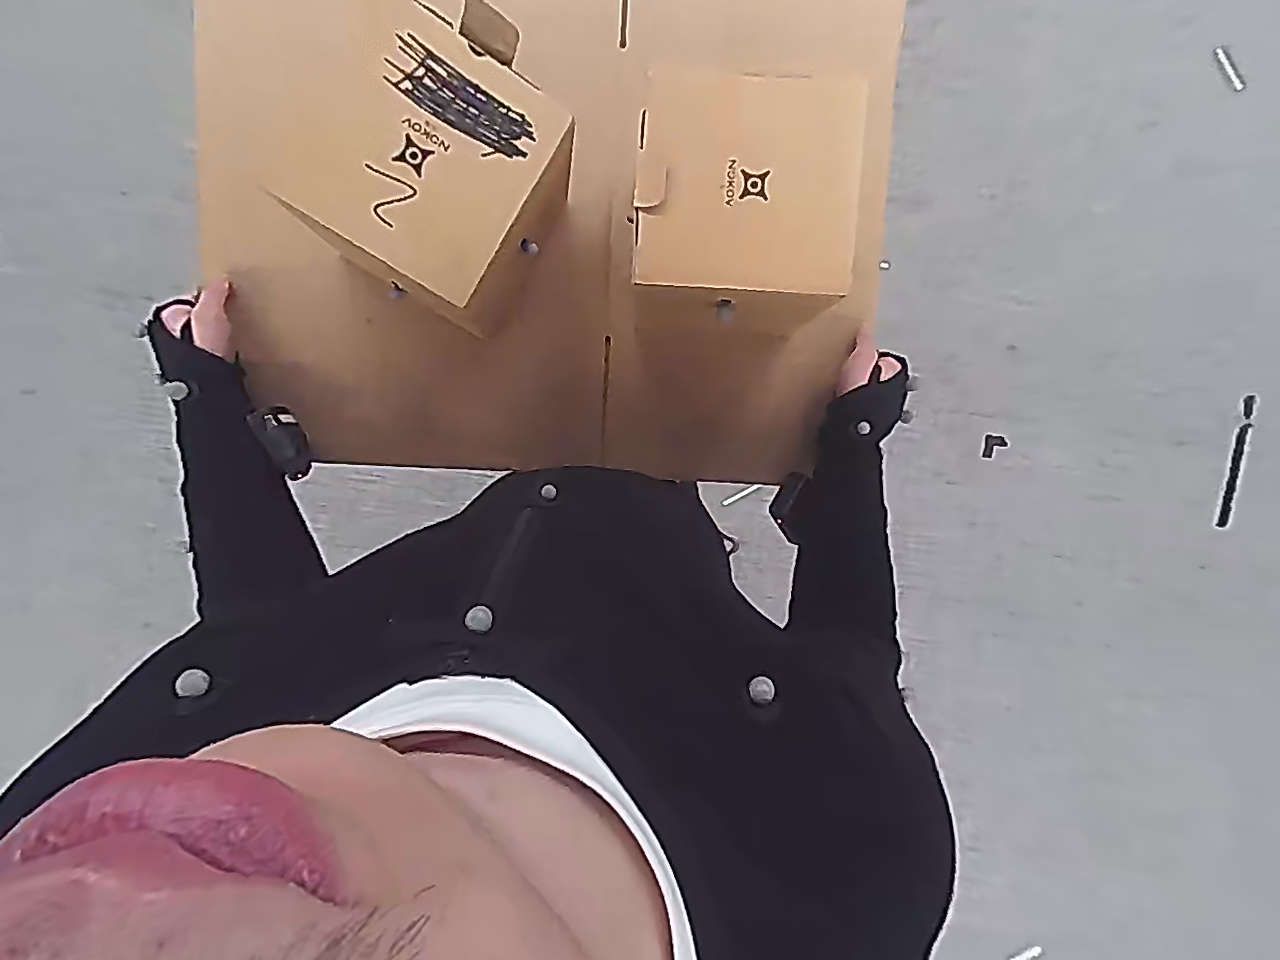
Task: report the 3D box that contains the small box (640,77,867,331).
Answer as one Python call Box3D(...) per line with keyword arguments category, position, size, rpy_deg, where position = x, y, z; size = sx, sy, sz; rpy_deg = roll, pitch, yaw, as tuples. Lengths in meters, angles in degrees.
Box3D(category="small box", position=(0.092, -0.244, 0.521), size=(0.179, 0.176, 0.168), rpy_deg=(3, 95, 1))
